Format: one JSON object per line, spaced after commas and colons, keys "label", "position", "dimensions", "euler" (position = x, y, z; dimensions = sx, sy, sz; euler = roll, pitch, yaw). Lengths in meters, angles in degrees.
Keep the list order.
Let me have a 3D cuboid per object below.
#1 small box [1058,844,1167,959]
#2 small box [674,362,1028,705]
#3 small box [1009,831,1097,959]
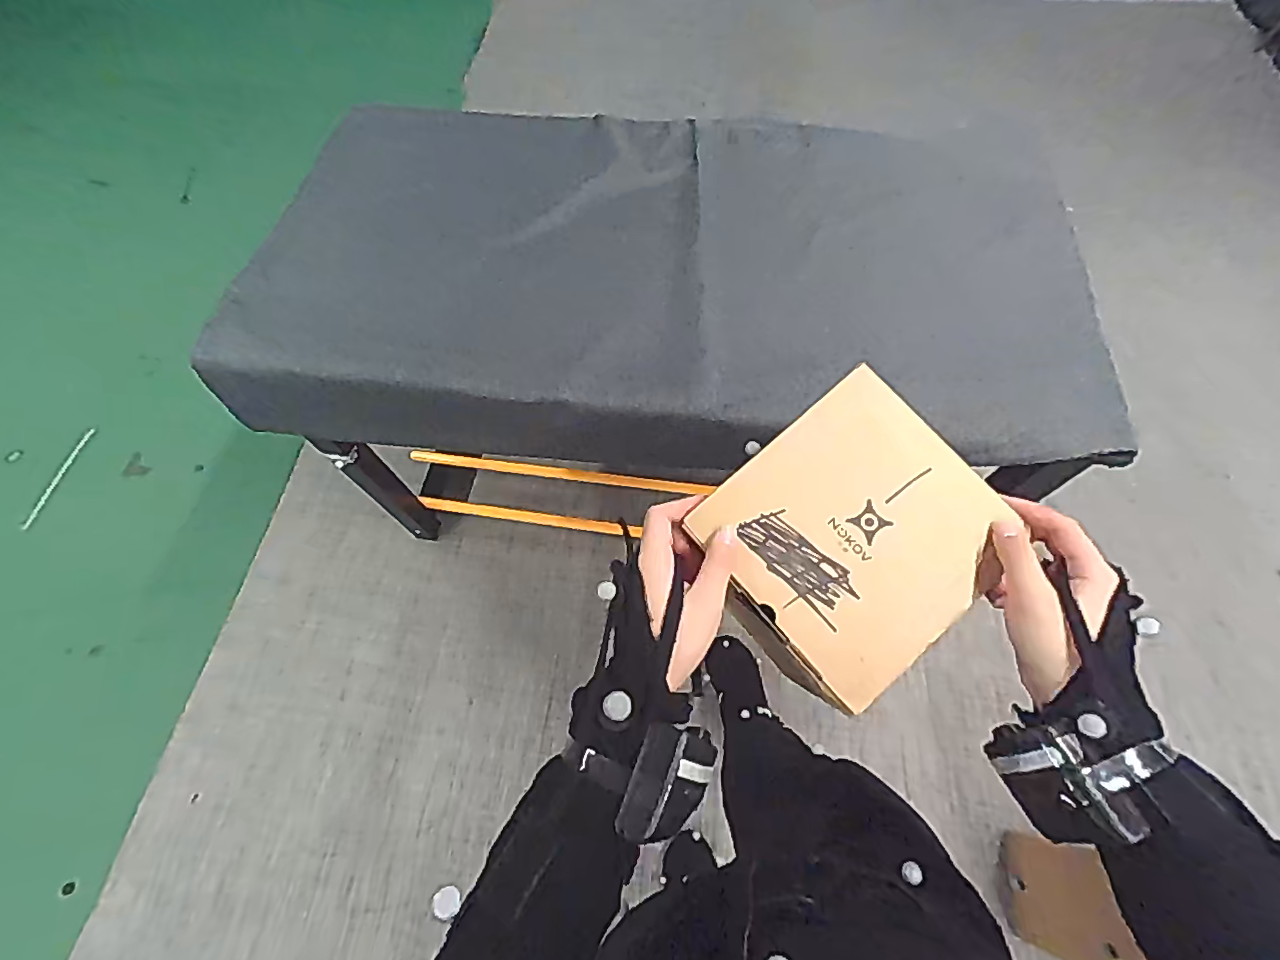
{"label": "small box", "position": [0.776, 0.670, 0.808], "dimensions": [0.168, 0.176, 0.179], "euler": [7, 63, 4]}
{"label": "small box", "position": [0.143, 0.046, 0.438], "dimensions": [0.179, 0.176, 0.168], "euler": [-40, 81, -8]}
{"label": "small box", "position": [0.786, 0.746, 0.952], "dimensions": [0.168, 0.176, 0.179], "euler": [9, 65, 7]}
